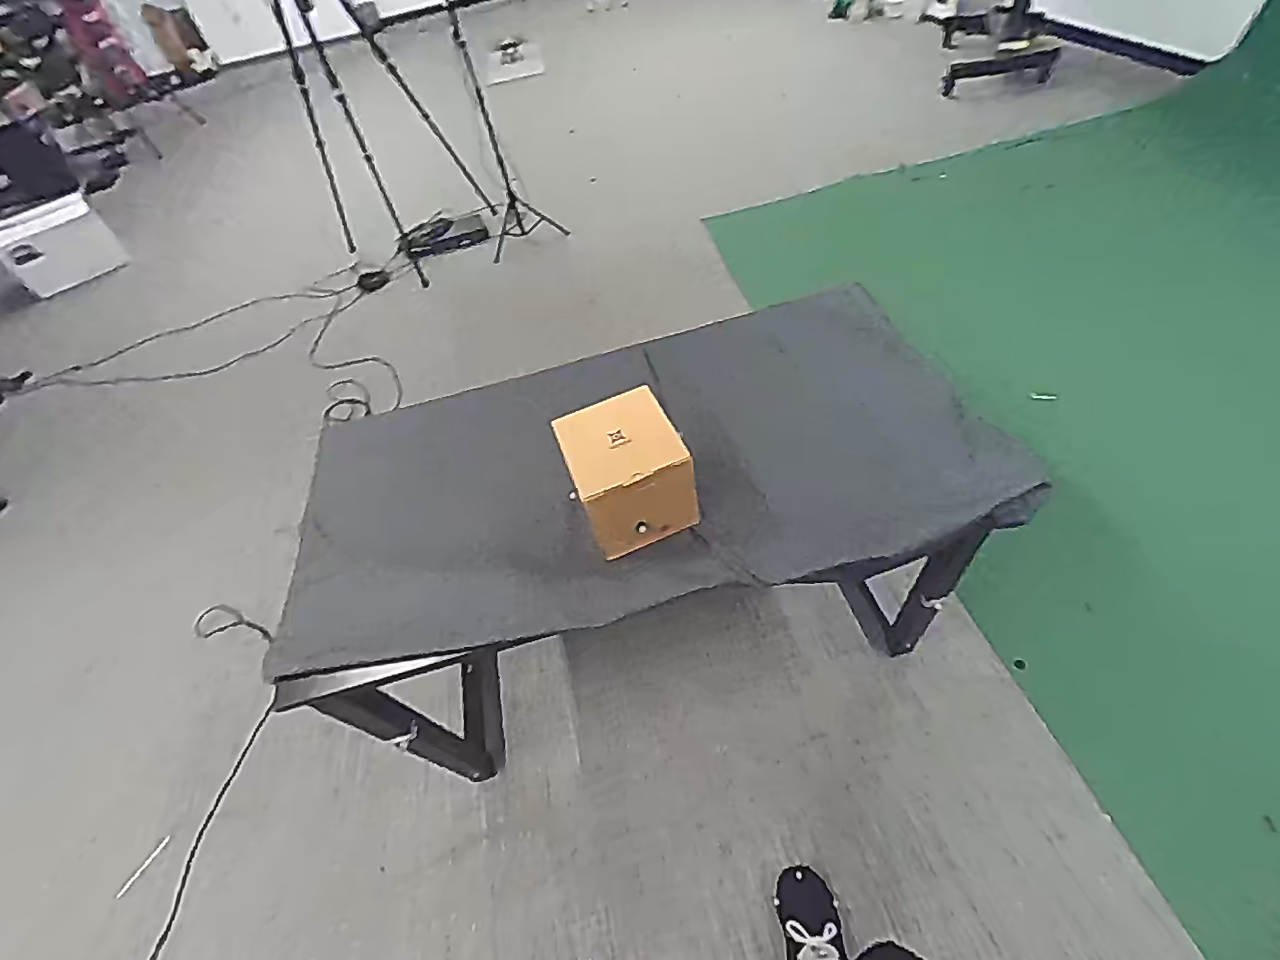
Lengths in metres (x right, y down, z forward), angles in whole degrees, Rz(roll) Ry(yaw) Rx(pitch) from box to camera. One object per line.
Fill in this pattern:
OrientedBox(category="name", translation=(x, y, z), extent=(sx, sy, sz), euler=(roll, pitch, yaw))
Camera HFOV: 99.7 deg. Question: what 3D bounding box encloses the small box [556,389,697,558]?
OrientedBox(category="small box", translation=(-0.019, -0.008, 0.864), extent=(0.168, 0.176, 0.179), euler=(-22, 52, -7))
